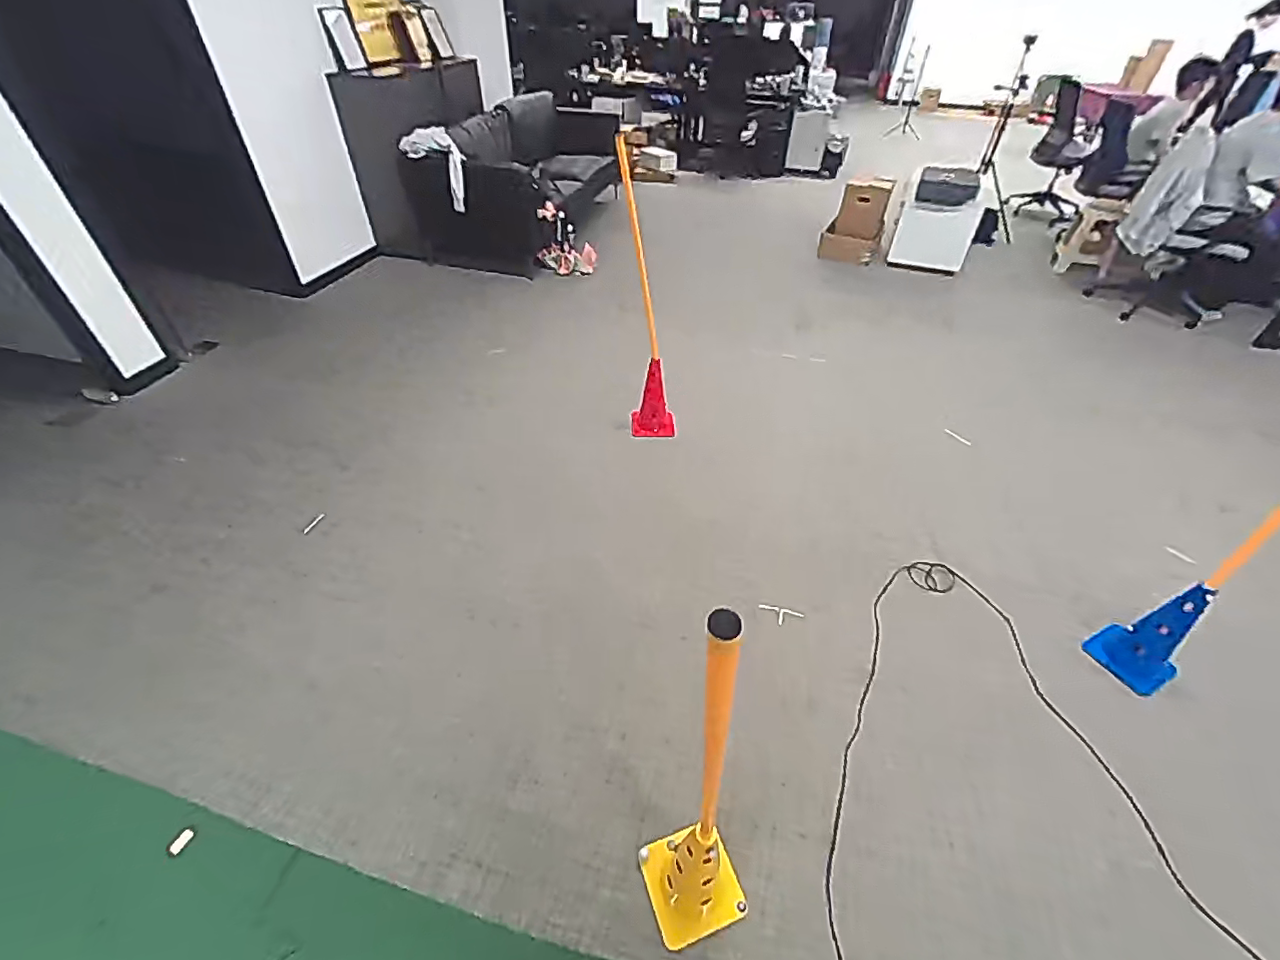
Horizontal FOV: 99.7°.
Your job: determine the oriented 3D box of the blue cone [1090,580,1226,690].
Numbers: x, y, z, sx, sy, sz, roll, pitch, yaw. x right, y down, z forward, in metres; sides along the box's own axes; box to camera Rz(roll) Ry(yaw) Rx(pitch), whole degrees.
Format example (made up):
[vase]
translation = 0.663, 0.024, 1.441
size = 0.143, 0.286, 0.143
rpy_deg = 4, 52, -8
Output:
[blue cone]
translation = 1.535, 0.417, 1.575
size = 0.193, 0.380, 0.192
rpy_deg = -18, 45, -23
